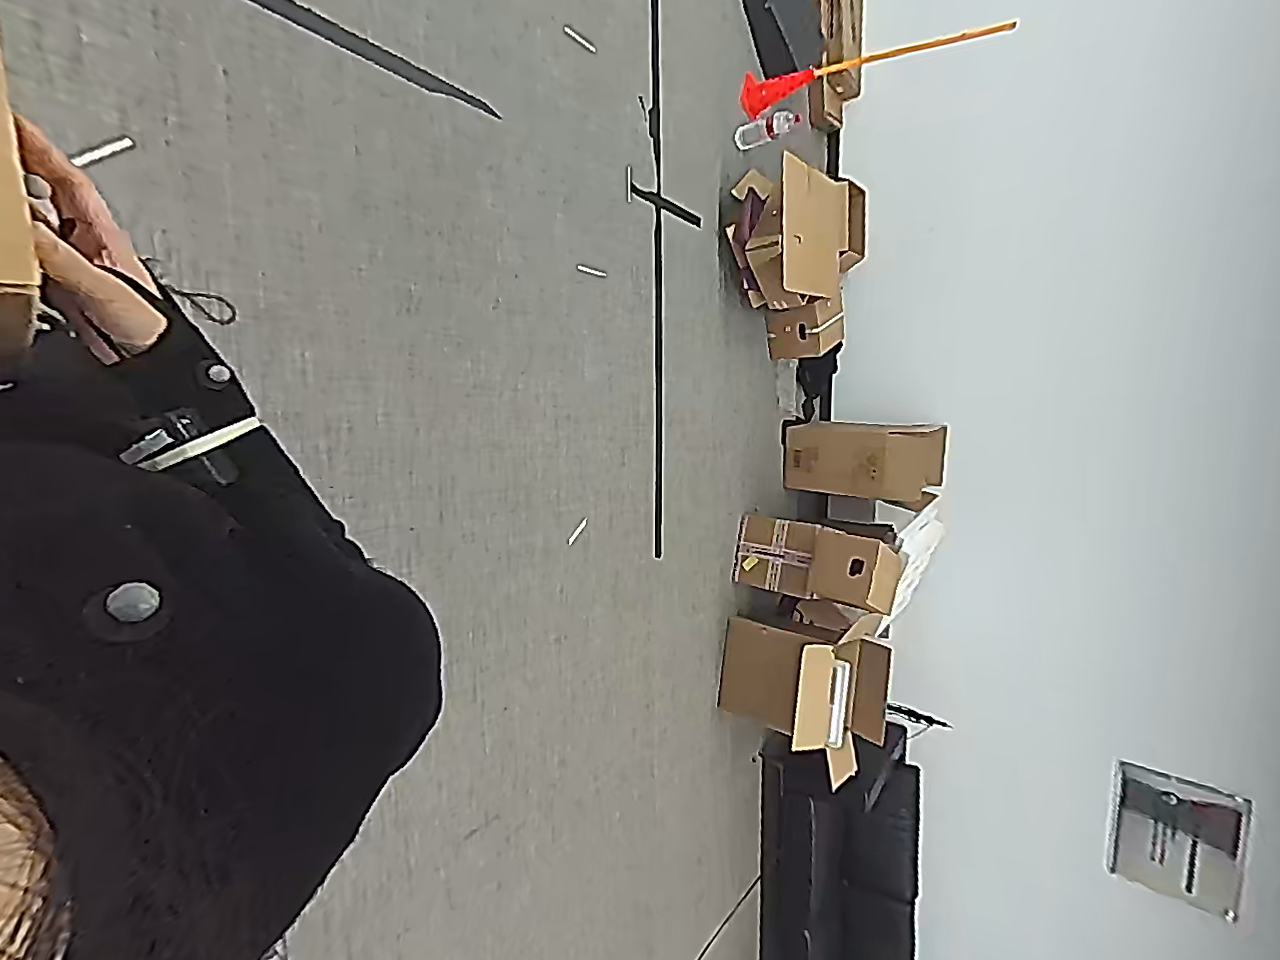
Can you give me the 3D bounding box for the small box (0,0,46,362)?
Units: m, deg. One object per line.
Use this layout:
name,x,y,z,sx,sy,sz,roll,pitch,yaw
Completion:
small box,-0.425,-0.162,0.263,0.168,0.176,0.179,-10,92,-52
